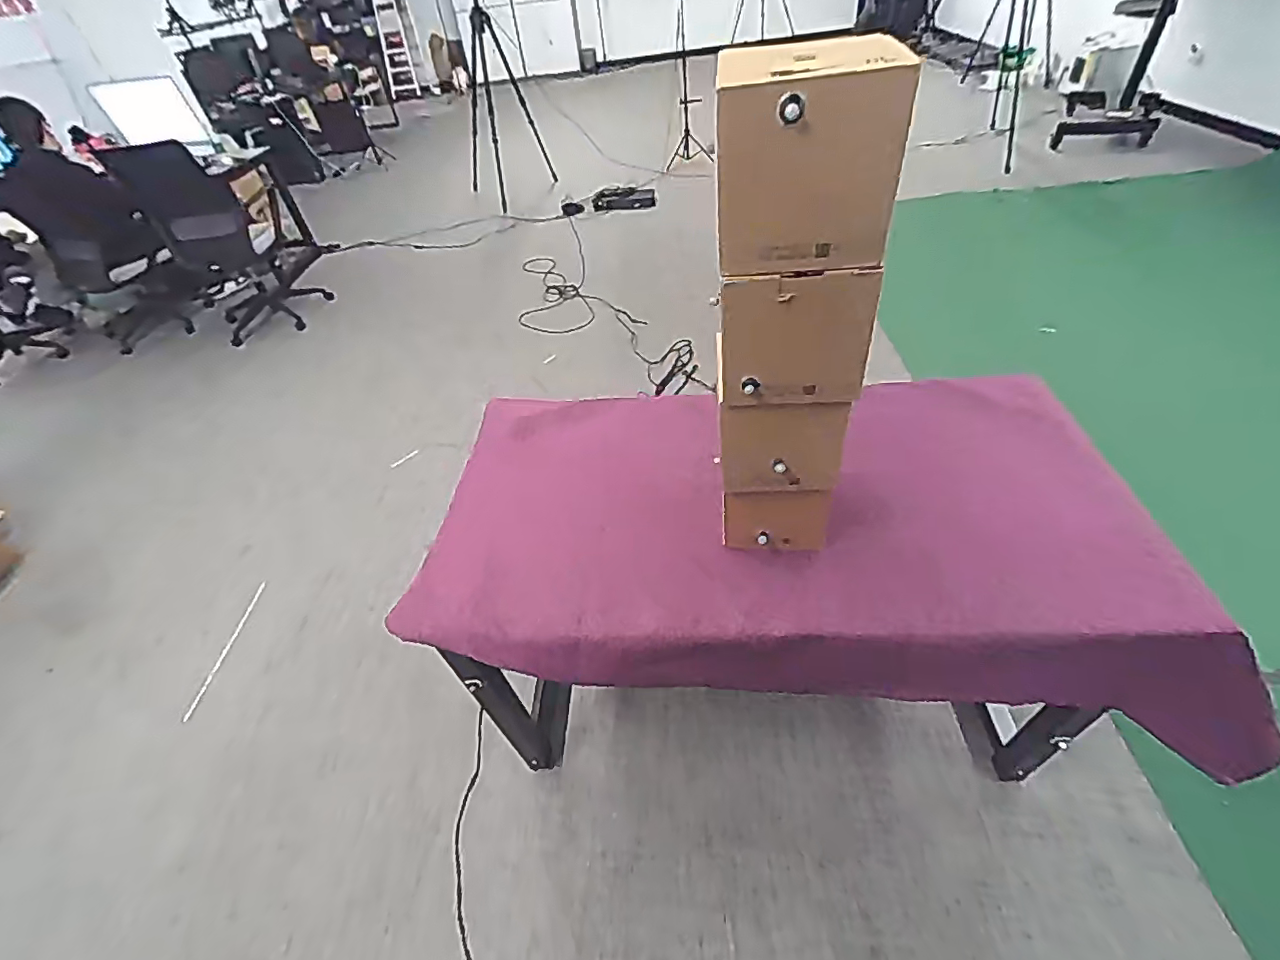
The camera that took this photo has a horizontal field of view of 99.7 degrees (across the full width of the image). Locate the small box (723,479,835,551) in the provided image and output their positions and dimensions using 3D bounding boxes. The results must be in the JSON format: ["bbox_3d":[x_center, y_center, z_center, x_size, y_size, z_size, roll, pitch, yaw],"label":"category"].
[{"bbox_3d":[0.227,0.000,0.922,0.168,0.176,0.179,0,46,10],"label":"small box"}]

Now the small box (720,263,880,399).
[{"bbox_3d":[0.186,-0.213,0.675,0.168,0.176,0.179,-1,44,9],"label":"small box"}]

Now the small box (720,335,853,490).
[{"bbox_3d":[0.202,-0.104,0.797,0.168,0.176,0.179,-2,45,9],"label":"small box"}]

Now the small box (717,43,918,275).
[{"bbox_3d":[0.166,-0.332,0.564,0.168,0.176,0.179,0,44,10],"label":"small box"}]
